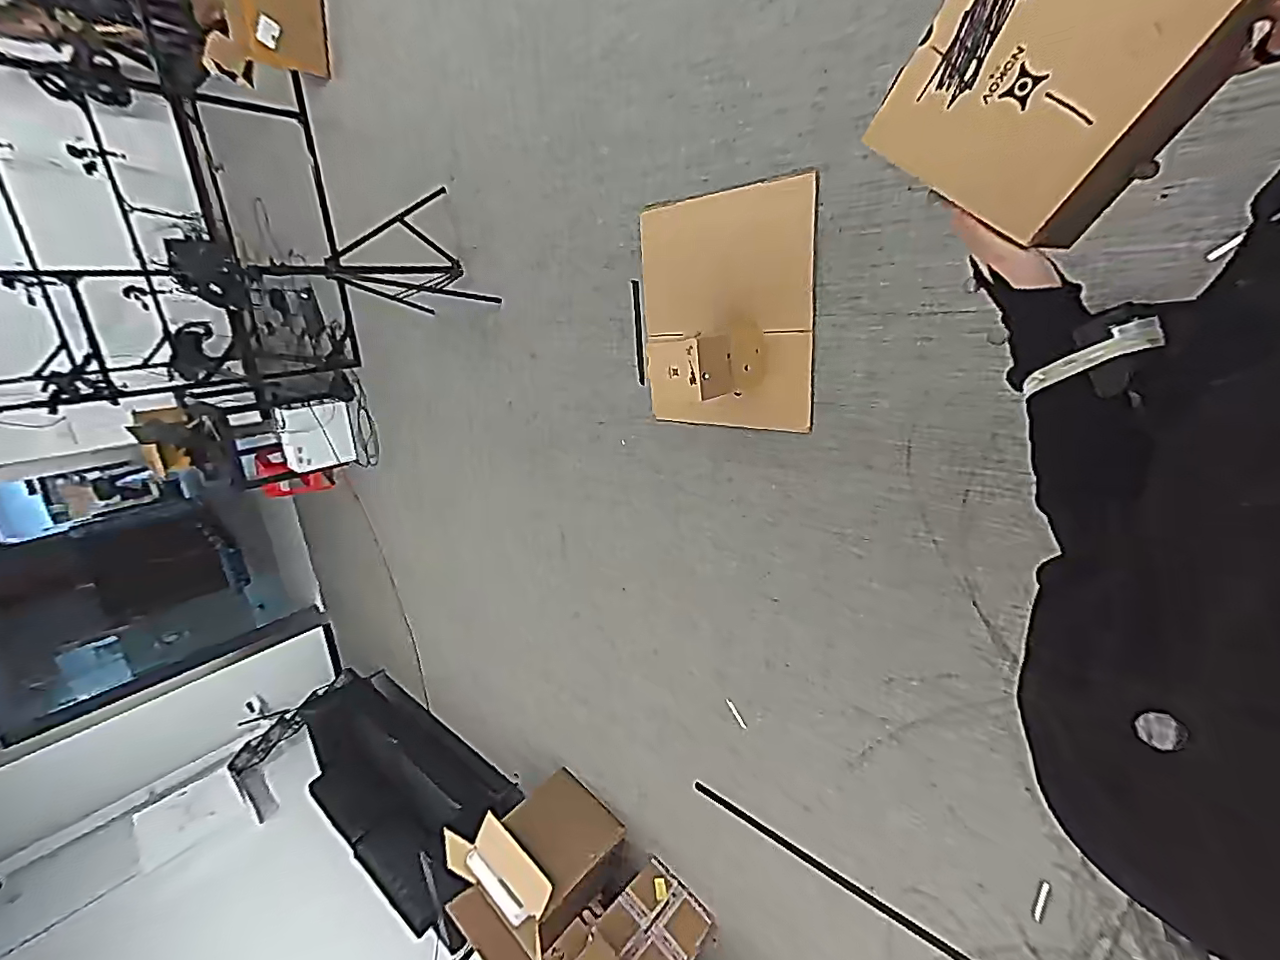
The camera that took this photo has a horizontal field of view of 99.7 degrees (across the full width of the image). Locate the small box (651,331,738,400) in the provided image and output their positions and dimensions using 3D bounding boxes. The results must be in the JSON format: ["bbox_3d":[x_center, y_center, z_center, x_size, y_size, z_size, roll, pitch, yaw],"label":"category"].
[{"bbox_3d":[0.154,-0.321,1.514,0.179,0.176,0.168,8,112,42],"label":"small box"}]

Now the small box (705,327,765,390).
[{"bbox_3d":[0.265,-0.366,1.627,0.179,0.176,0.168,9,112,41],"label":"small box"}]

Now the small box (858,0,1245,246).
[{"bbox_3d":[0.332,-0.314,0.453,0.179,0.176,0.168,50,136,22],"label":"small box"}]
